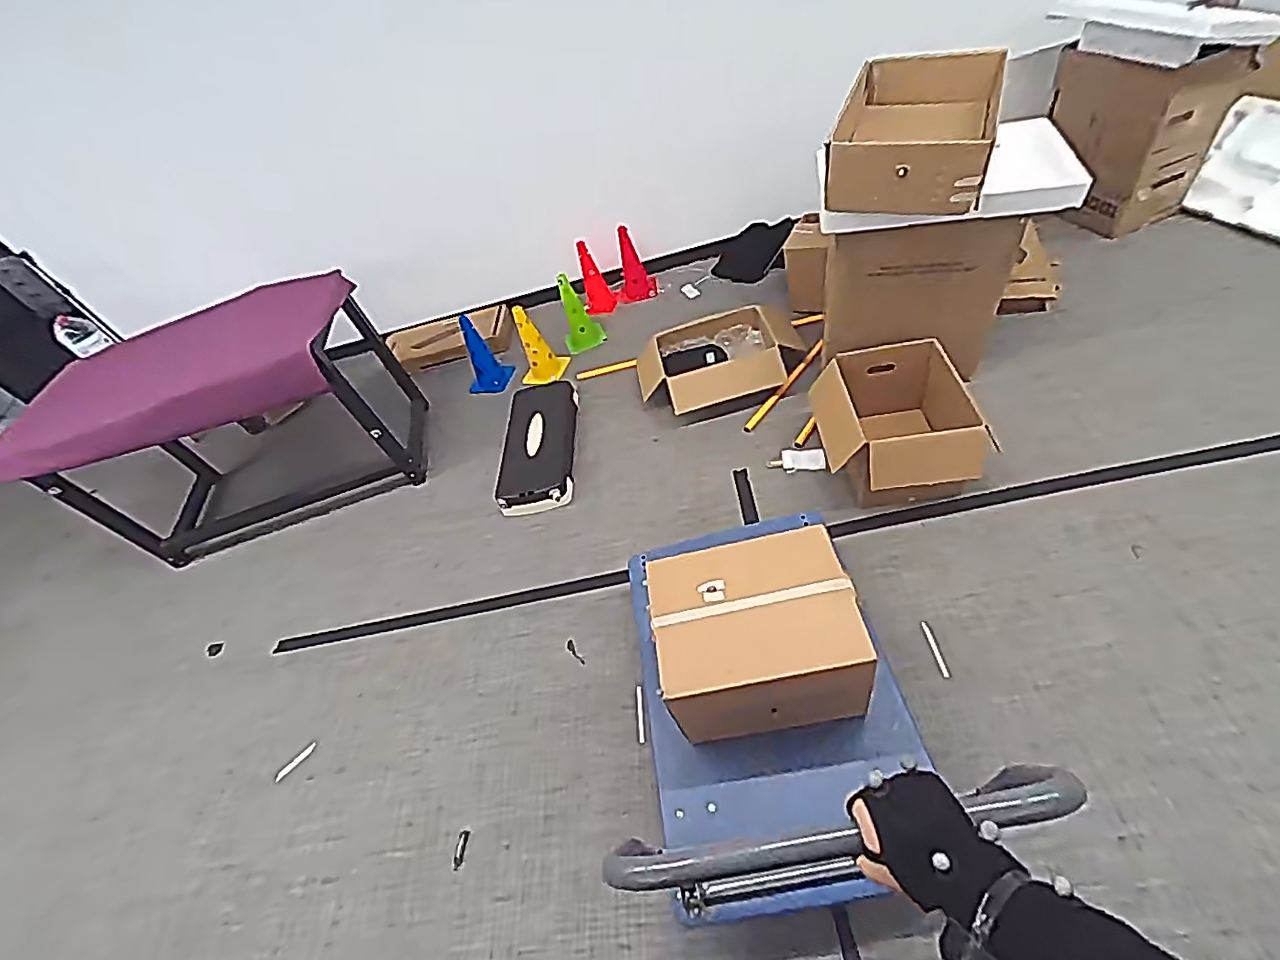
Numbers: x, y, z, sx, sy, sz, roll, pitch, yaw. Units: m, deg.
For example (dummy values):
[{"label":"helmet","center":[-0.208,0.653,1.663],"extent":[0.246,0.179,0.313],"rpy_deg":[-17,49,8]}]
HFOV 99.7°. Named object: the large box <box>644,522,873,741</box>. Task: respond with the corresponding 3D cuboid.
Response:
[{"label":"large box","center":[0.253,0.345,1.201],"extent":[0.408,0.320,0.320],"rpy_deg":[-15,46,7]}]
